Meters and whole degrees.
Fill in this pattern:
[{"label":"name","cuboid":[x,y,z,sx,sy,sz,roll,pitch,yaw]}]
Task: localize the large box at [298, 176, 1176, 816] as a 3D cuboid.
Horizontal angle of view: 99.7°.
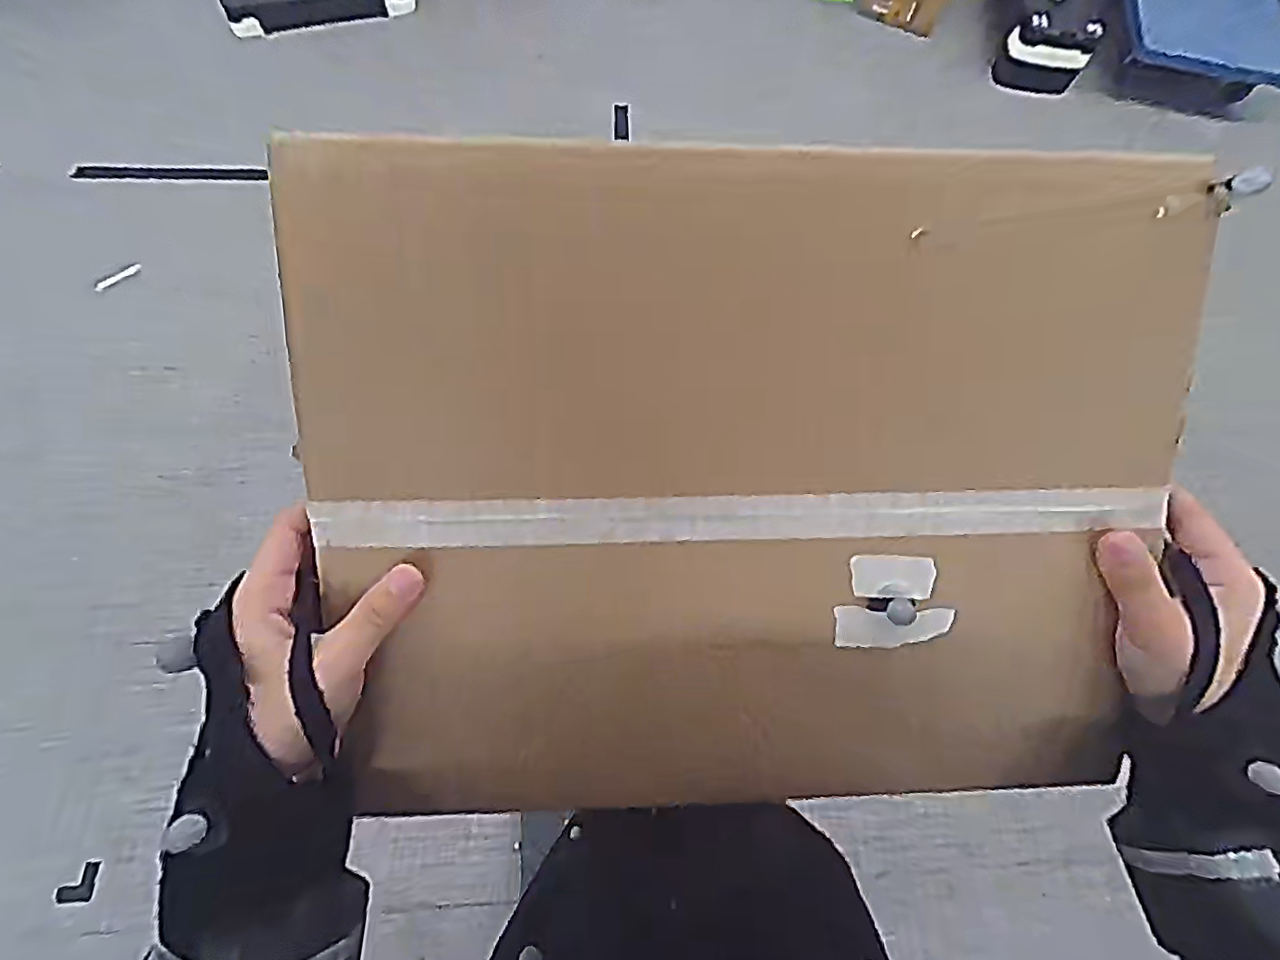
[{"label":"large box","cuboid":[0.044,-0.009,0.412,0.408,0.320,0.320,-1,102,-4]}]
